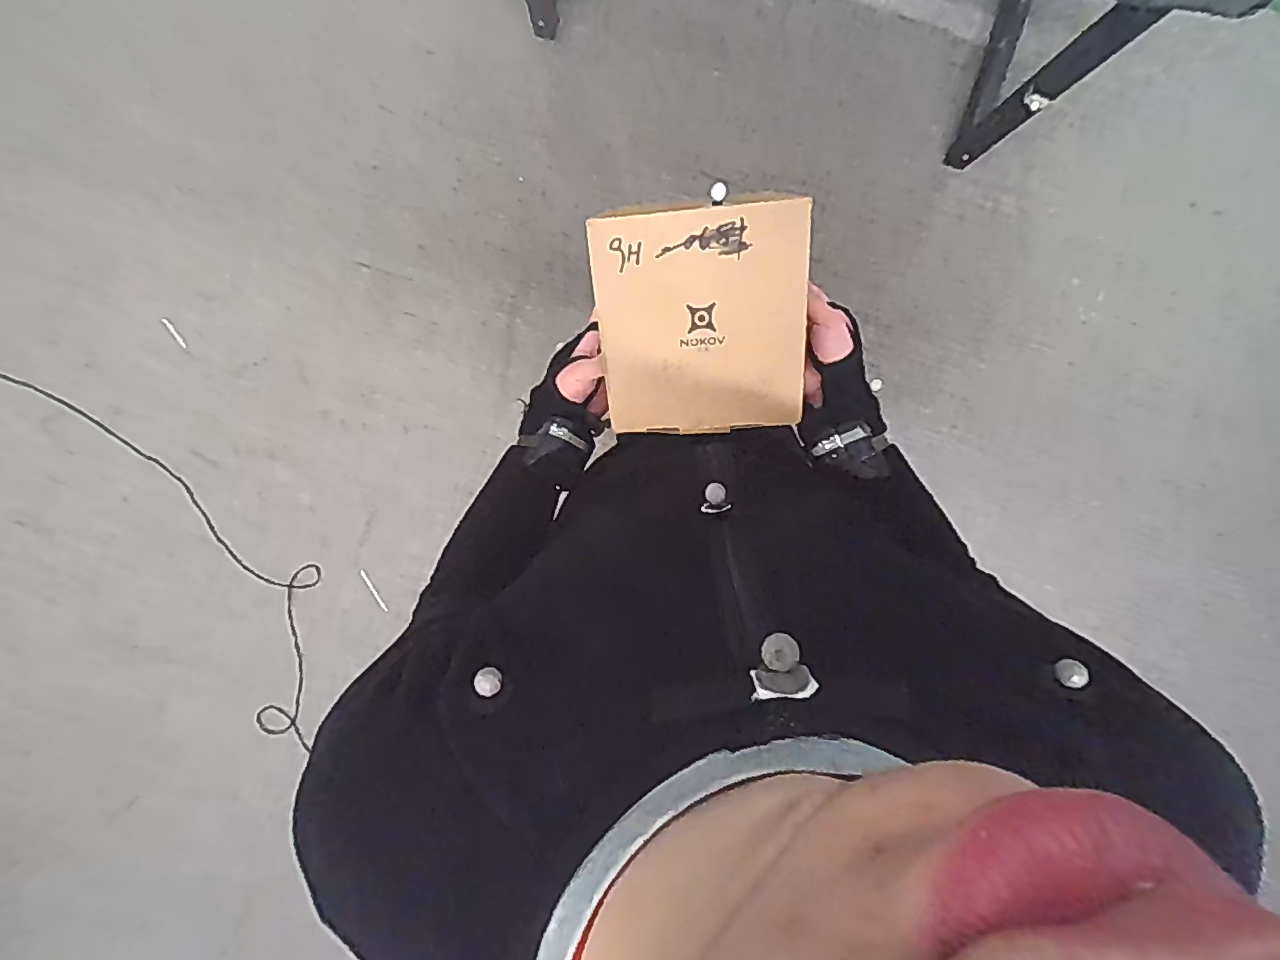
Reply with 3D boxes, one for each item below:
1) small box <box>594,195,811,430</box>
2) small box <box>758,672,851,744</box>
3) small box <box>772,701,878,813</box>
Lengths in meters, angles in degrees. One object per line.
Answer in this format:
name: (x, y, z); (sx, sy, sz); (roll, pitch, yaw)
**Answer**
small box: (0.058, -0.163, 0.514); (0.168, 0.176, 0.179); (-2, 120, 6)
small box: (0.477, 0.699, 1.593); (0.179, 0.176, 0.168); (29, 95, -4)
small box: (0.481, 0.721, 1.429); (0.179, 0.176, 0.168); (30, 95, -5)
